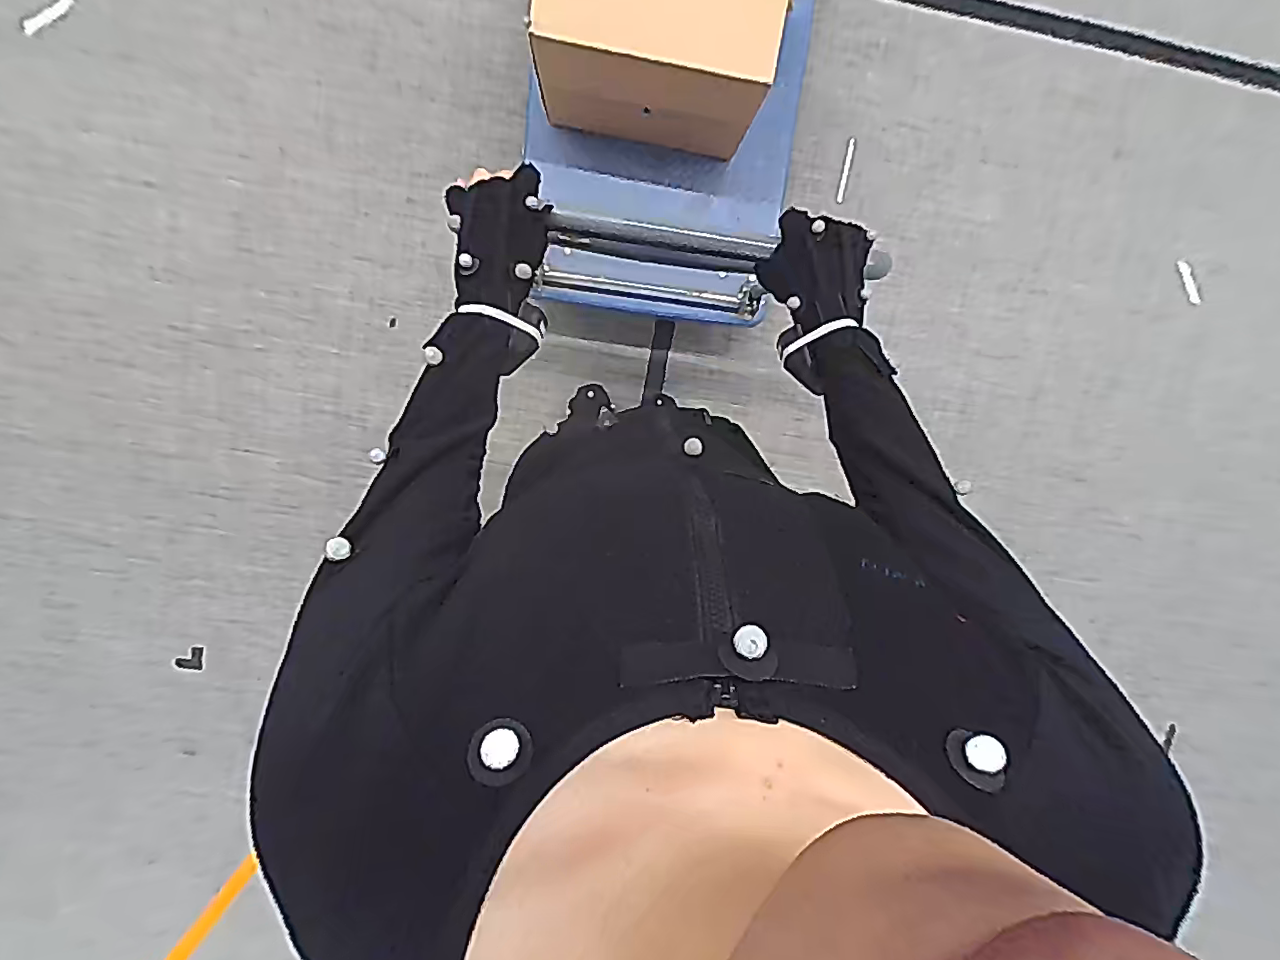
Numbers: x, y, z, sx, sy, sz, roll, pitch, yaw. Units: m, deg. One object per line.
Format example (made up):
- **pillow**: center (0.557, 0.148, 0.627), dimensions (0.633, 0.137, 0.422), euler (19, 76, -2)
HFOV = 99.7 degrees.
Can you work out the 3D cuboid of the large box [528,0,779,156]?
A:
- **large box**: center (0.030, -0.856, 1.010), dimensions (0.408, 0.320, 0.320), euler (8, 99, -4)
